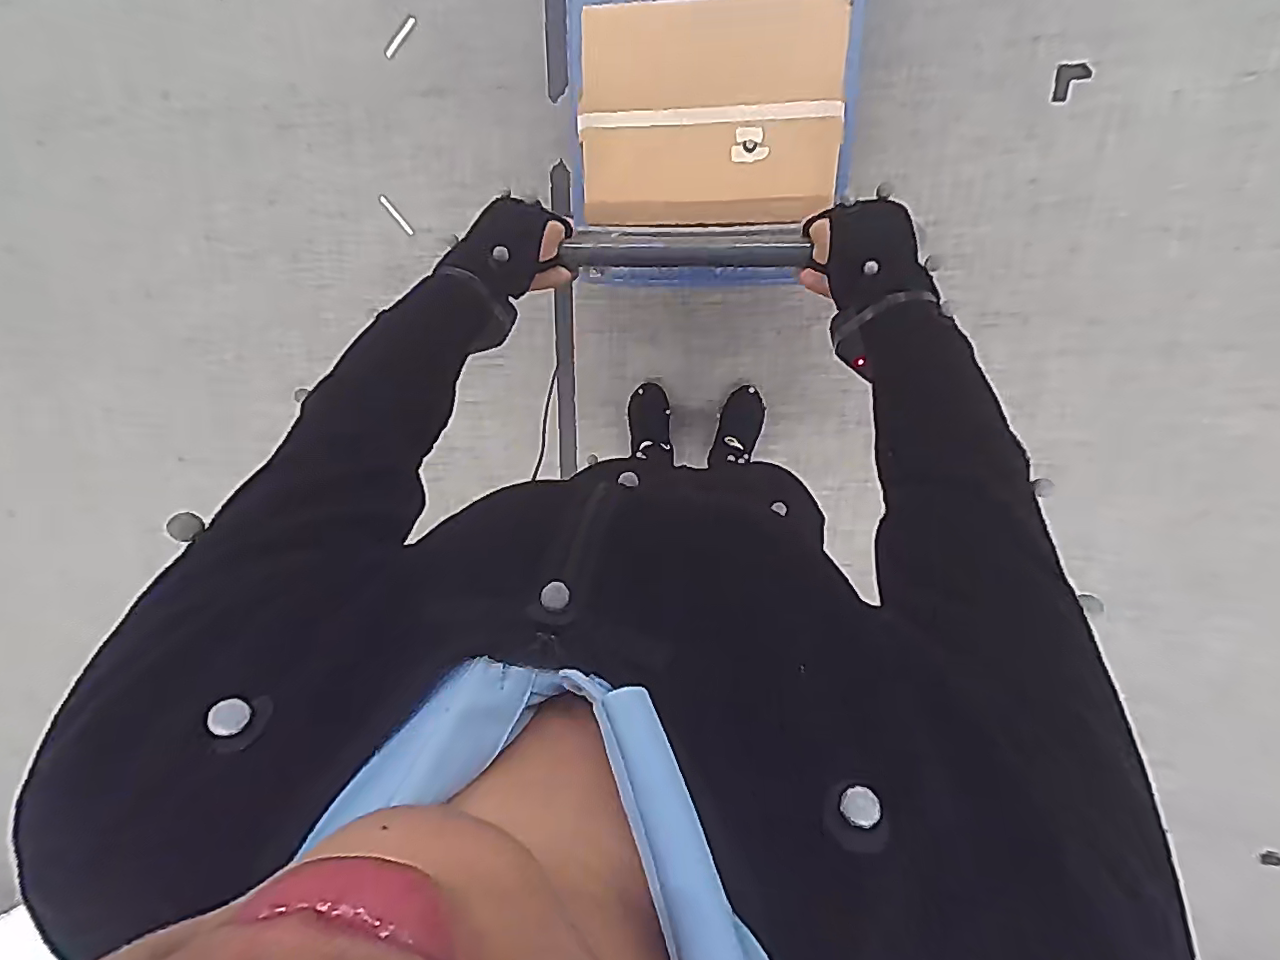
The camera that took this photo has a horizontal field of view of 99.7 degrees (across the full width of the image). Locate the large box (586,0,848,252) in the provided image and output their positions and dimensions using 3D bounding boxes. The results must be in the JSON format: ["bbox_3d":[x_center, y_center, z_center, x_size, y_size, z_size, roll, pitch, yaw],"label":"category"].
[{"bbox_3d":[0.130,-0.615,1.003,0.408,0.320,0.320,2,106,7],"label":"large box"}]
